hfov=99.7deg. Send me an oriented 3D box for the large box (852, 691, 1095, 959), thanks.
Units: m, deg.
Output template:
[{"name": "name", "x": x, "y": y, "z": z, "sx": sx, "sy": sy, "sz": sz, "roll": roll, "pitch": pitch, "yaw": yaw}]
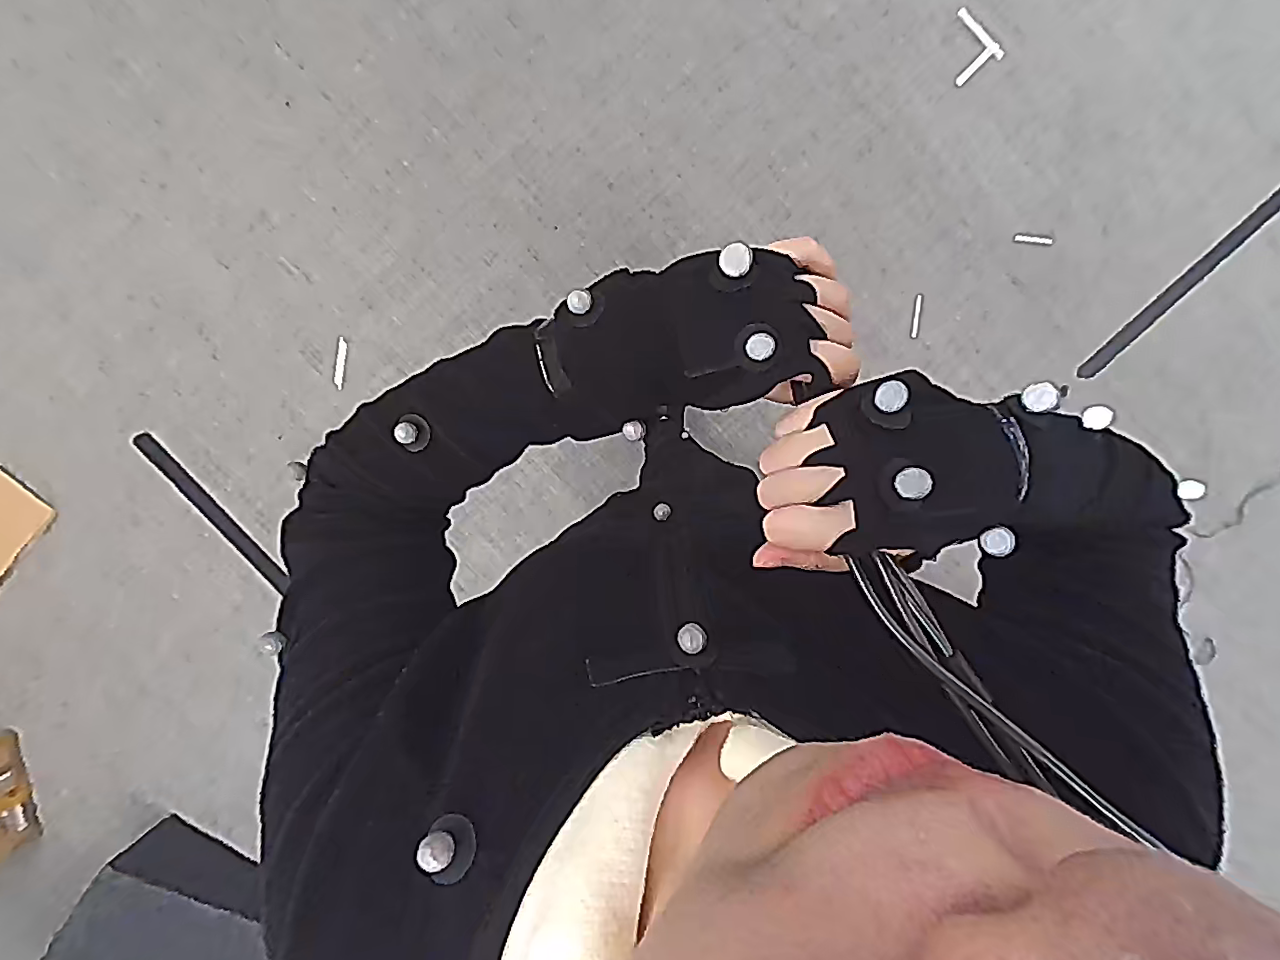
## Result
[{"name": "large box", "x": 0.718, "y": 0.747, "z": 1.220, "sx": 0.320, "sy": 0.320, "sz": 0.408, "roll": 9, "pitch": 93, "yaw": -2}]
